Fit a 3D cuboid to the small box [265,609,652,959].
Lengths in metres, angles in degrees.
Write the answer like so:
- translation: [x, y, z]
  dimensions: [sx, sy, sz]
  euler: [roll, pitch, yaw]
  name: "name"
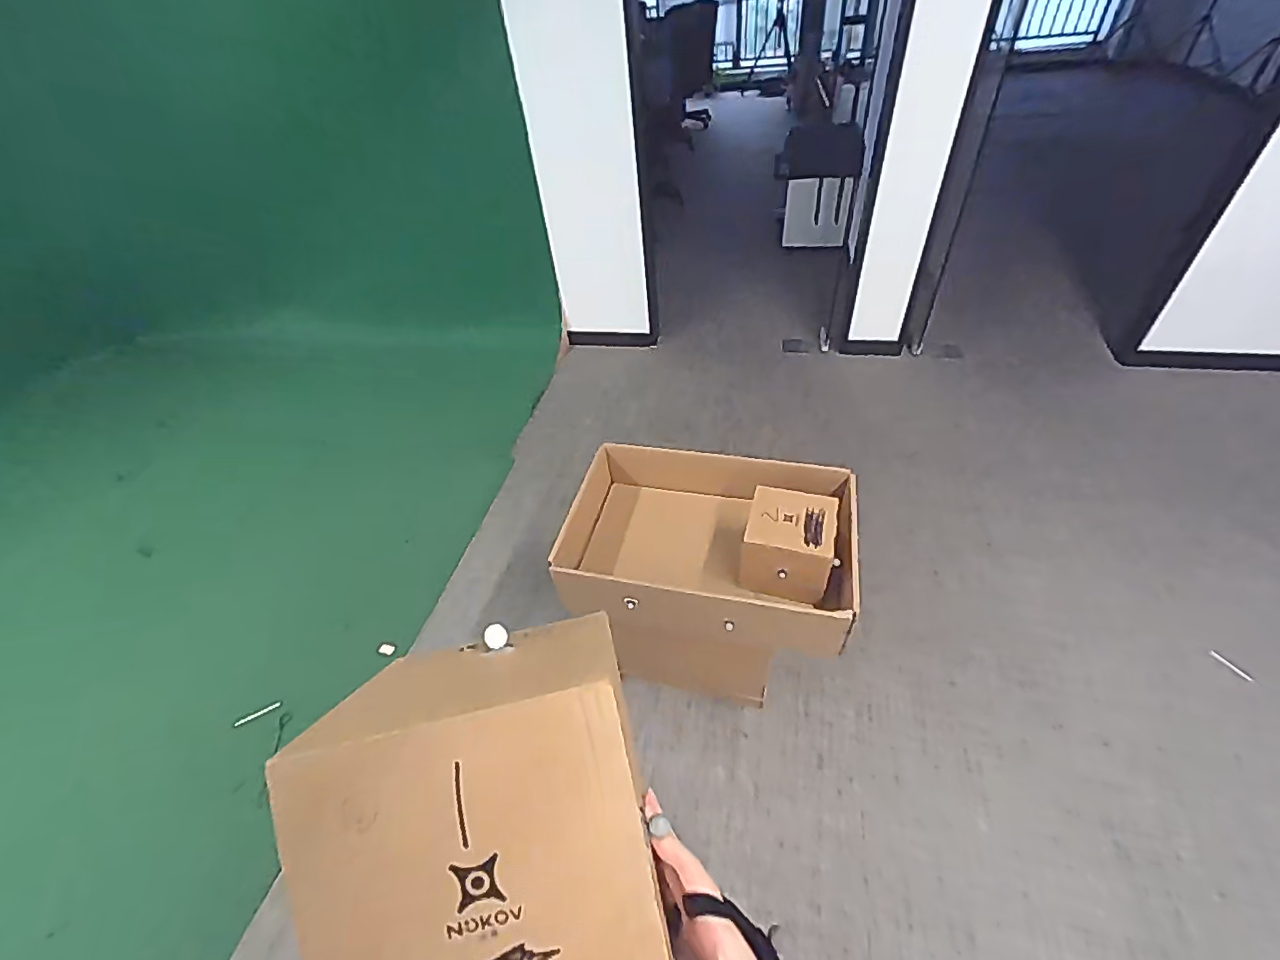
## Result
- translation: [-0.089, 0.196, 0.341]
  dimensions: [0.168, 0.176, 0.179]
  euler: [-11, 87, -5]
  name: "small box"
